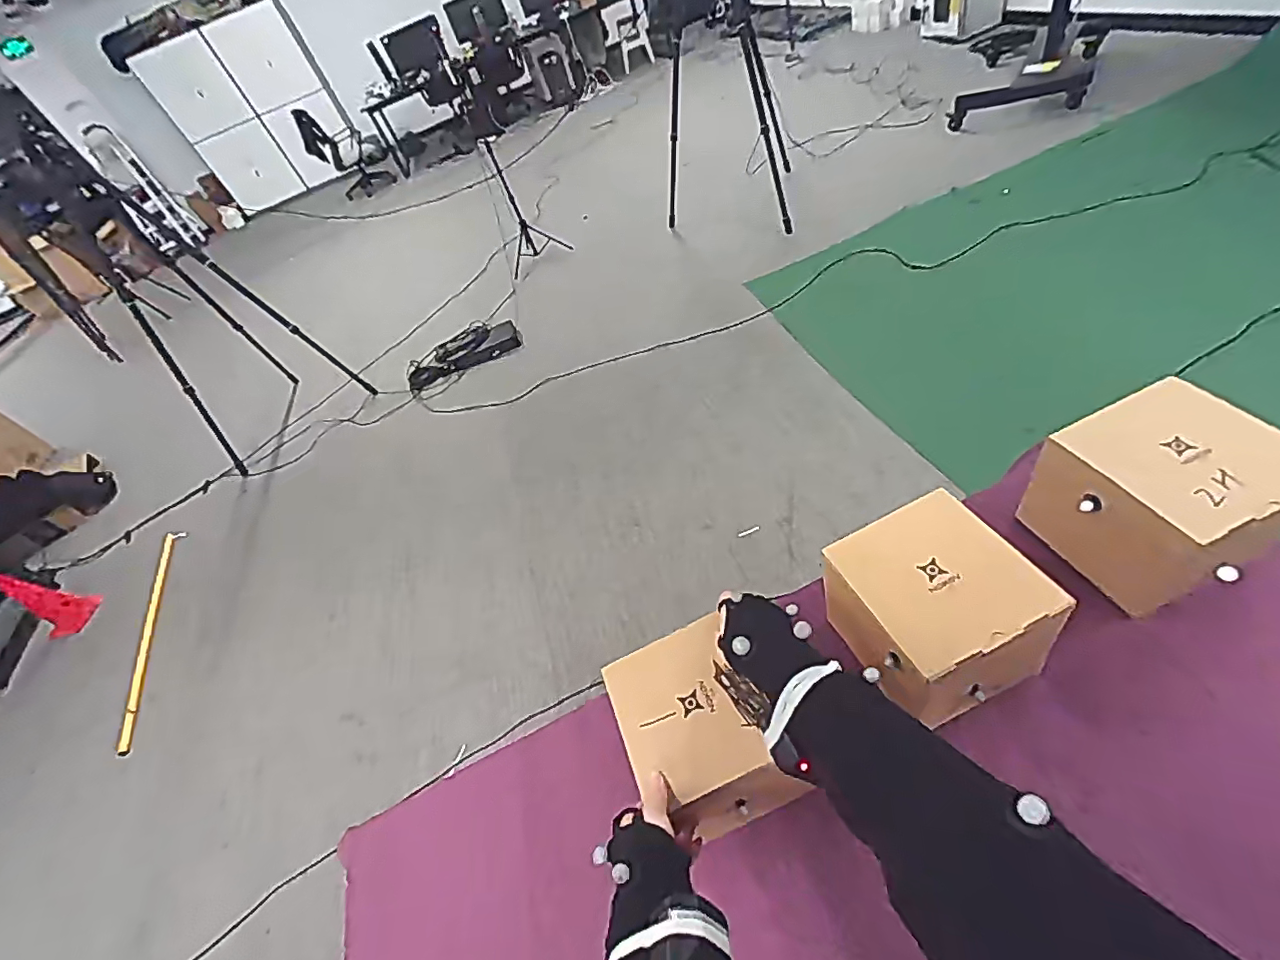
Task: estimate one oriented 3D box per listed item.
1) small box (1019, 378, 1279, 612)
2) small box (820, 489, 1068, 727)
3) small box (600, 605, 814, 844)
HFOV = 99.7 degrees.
[{"bbox_3d":[0.589,0.020,0.629,0.168,0.176,0.179,-26,48,0],"label":"small box"},{"bbox_3d":[0.330,0.150,0.628,0.168,0.176,0.179,-27,46,-2],"label":"small box"},{"bbox_3d":[0.080,0.279,0.614,0.179,0.176,0.168,-27,45,-1],"label":"small box"}]
